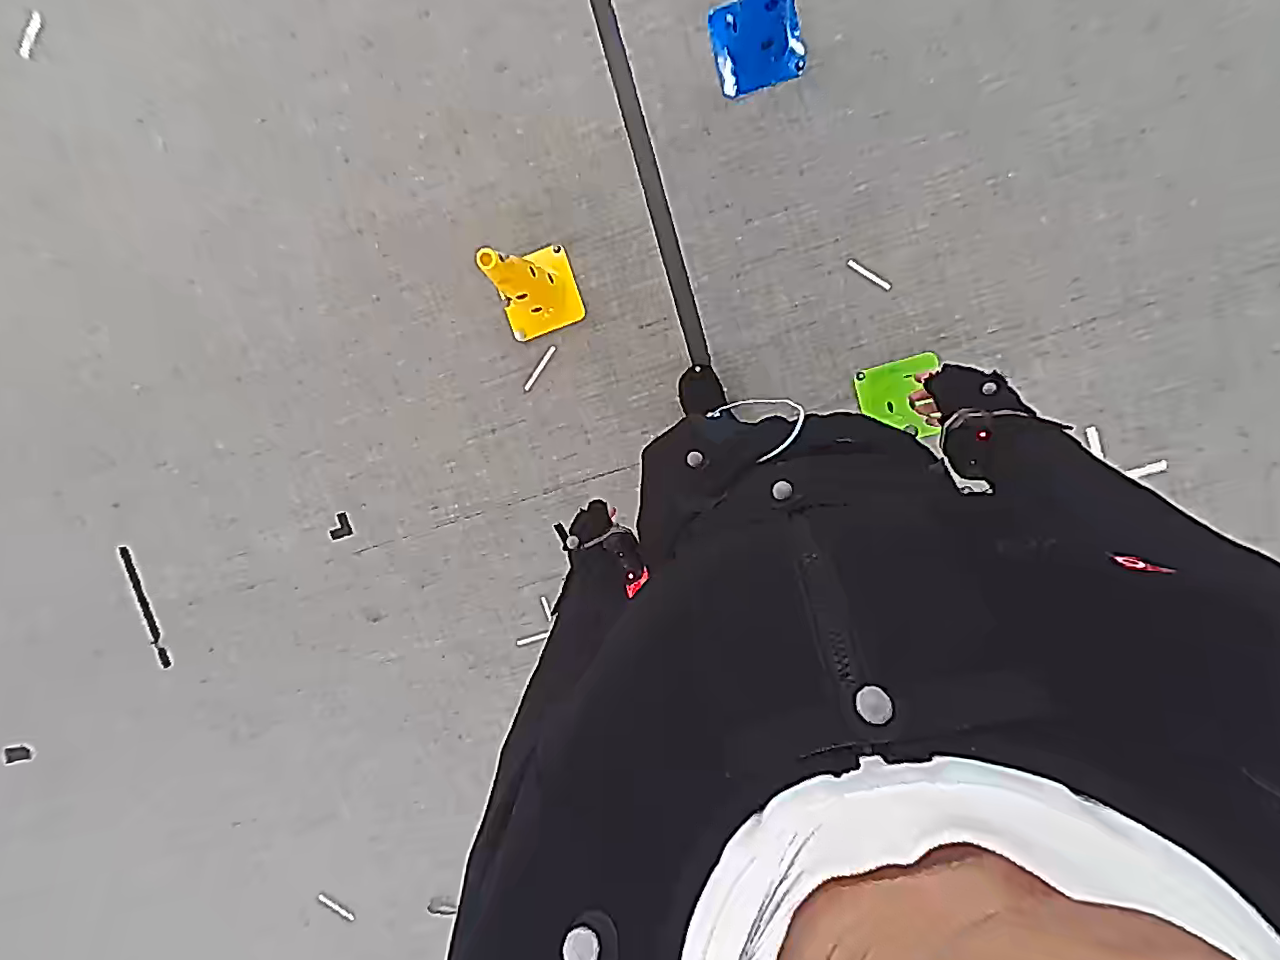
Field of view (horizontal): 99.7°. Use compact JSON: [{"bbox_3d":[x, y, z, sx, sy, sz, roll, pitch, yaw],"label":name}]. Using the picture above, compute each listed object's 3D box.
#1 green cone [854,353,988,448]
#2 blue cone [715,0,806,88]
[{"bbox_3d":[0.630,-0.172,1.166,0.202,0.368,0.200,-16,96,7],"label":"green cone"},{"bbox_3d":[0.265,-1.014,1.109,0.192,0.380,0.193,-12,96,7],"label":"blue cone"}]
